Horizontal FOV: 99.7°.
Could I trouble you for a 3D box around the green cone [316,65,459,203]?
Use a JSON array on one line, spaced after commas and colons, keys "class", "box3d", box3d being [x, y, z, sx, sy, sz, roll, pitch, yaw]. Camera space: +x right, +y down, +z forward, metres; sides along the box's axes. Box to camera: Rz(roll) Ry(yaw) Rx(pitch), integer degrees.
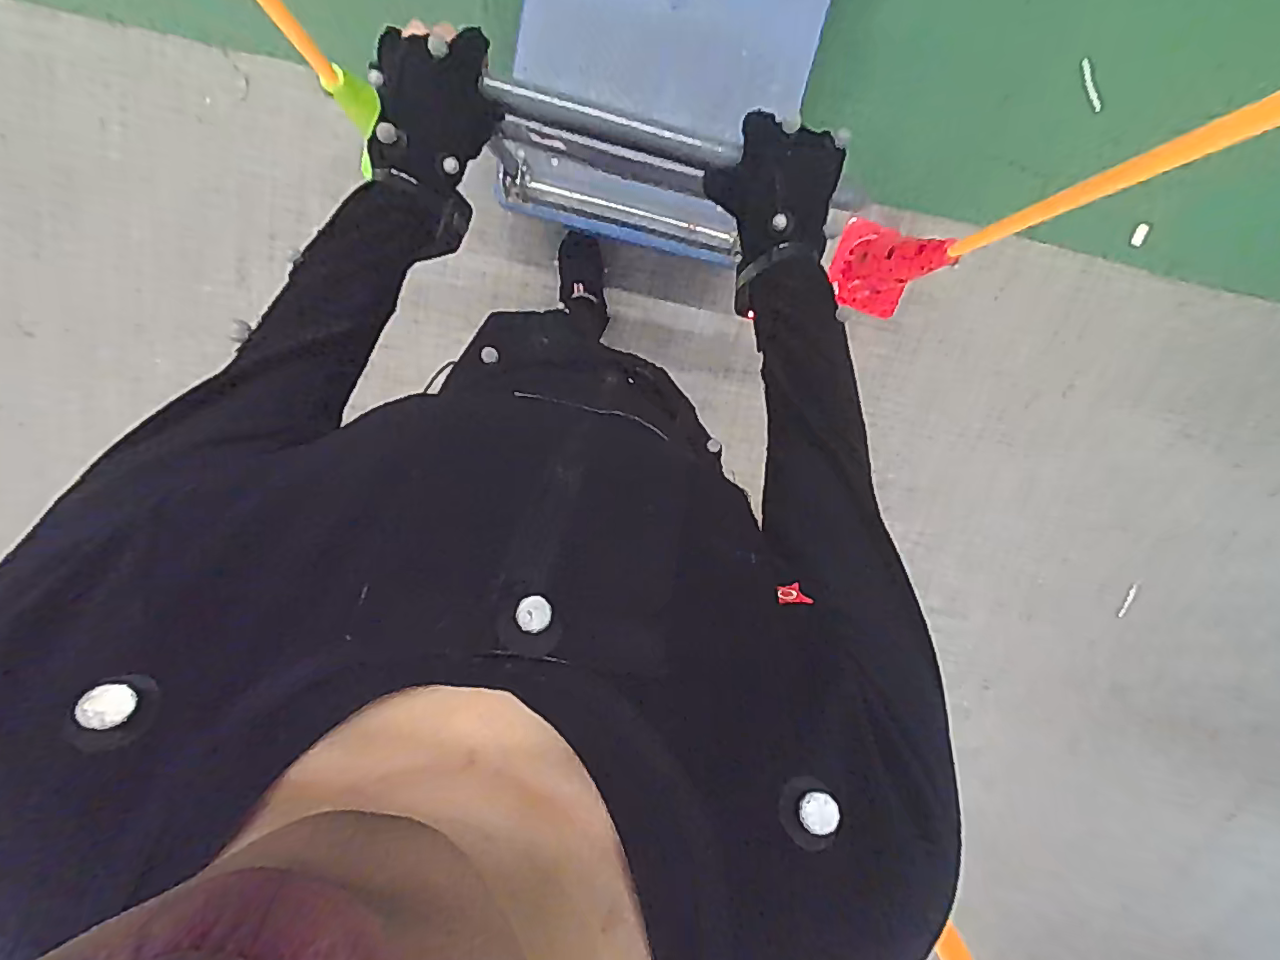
[{"class": "green cone", "box3d": [-0.526, -0.727, 1.083, 0.202, 0.368, 0.200, 16, 104, -5]}]
